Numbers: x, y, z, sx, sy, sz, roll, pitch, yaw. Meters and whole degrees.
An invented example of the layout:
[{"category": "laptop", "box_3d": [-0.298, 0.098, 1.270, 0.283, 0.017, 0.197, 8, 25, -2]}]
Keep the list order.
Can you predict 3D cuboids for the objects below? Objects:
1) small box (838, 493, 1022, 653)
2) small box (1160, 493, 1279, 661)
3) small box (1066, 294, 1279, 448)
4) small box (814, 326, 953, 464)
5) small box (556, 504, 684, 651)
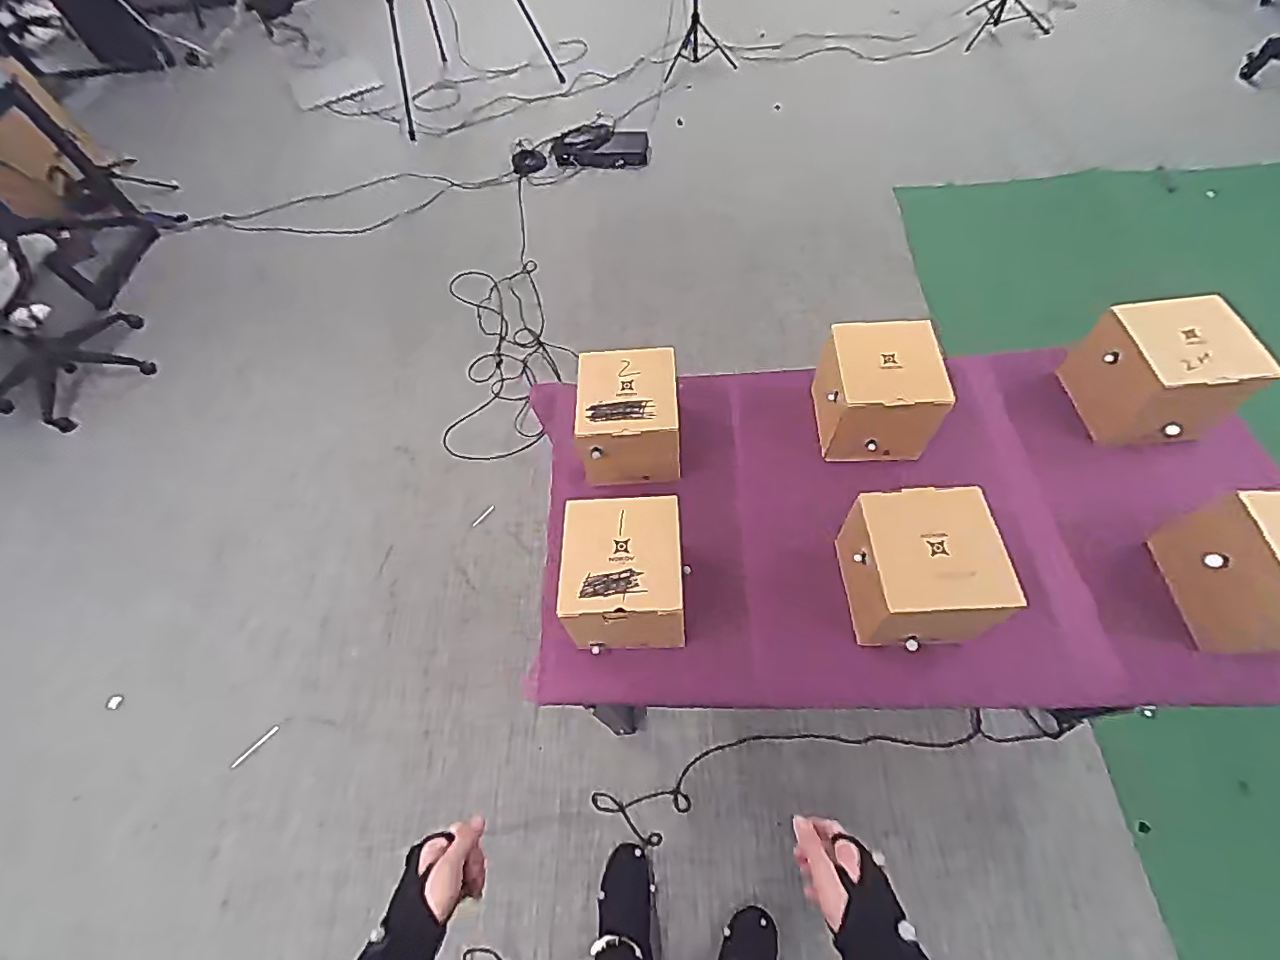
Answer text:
[{"category": "small box", "box_3d": [0.393, 0.137, 0.775, 0.168, 0.176, 0.179, -4, 58, 6]}, {"category": "small box", "box_3d": [0.858, 0.131, 0.712, 0.168, 0.176, 0.179, -3, 59, 7]}, {"category": "small box", "box_3d": [0.861, -0.175, 0.894, 0.168, 0.176, 0.179, -6, 60, 7]}, {"category": "small box", "box_3d": [0.408, -0.143, 0.941, 0.168, 0.176, 0.179, -2, 61, 6]}, {"category": "small box", "box_3d": [-0.021, 0.154, 0.816, 0.168, 0.176, 0.179, -3, 57, 5]}]
